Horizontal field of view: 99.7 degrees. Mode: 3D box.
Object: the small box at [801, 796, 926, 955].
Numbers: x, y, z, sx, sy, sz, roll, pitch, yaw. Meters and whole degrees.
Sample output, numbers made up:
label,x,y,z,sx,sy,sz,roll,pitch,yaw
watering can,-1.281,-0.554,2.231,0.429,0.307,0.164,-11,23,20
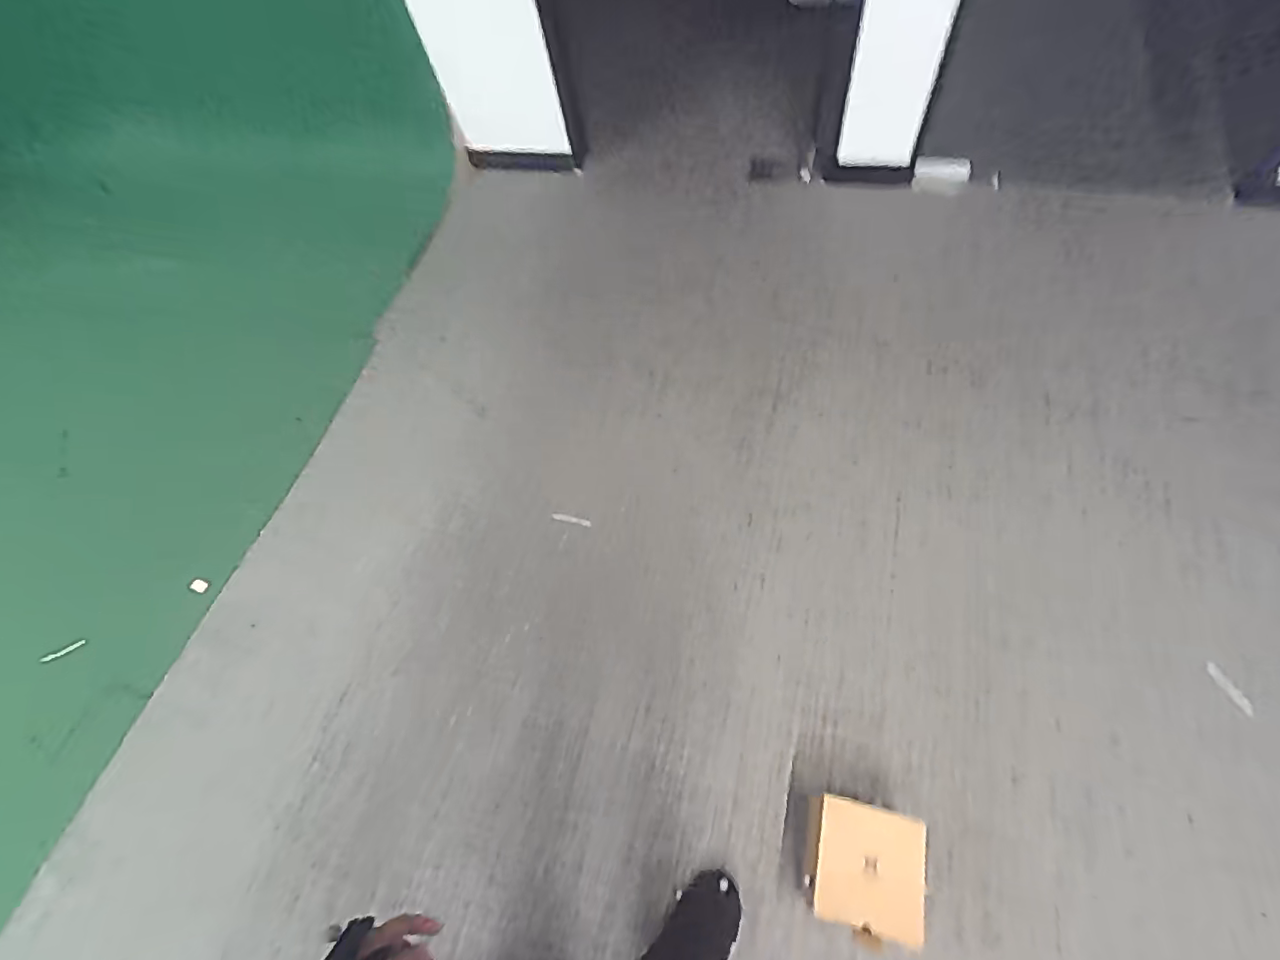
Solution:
label,x,y,z,sx,sy,sz,roll,pitch,yaw
small box,0.383,0.671,0.945,0.168,0.176,0.179,10,64,13
